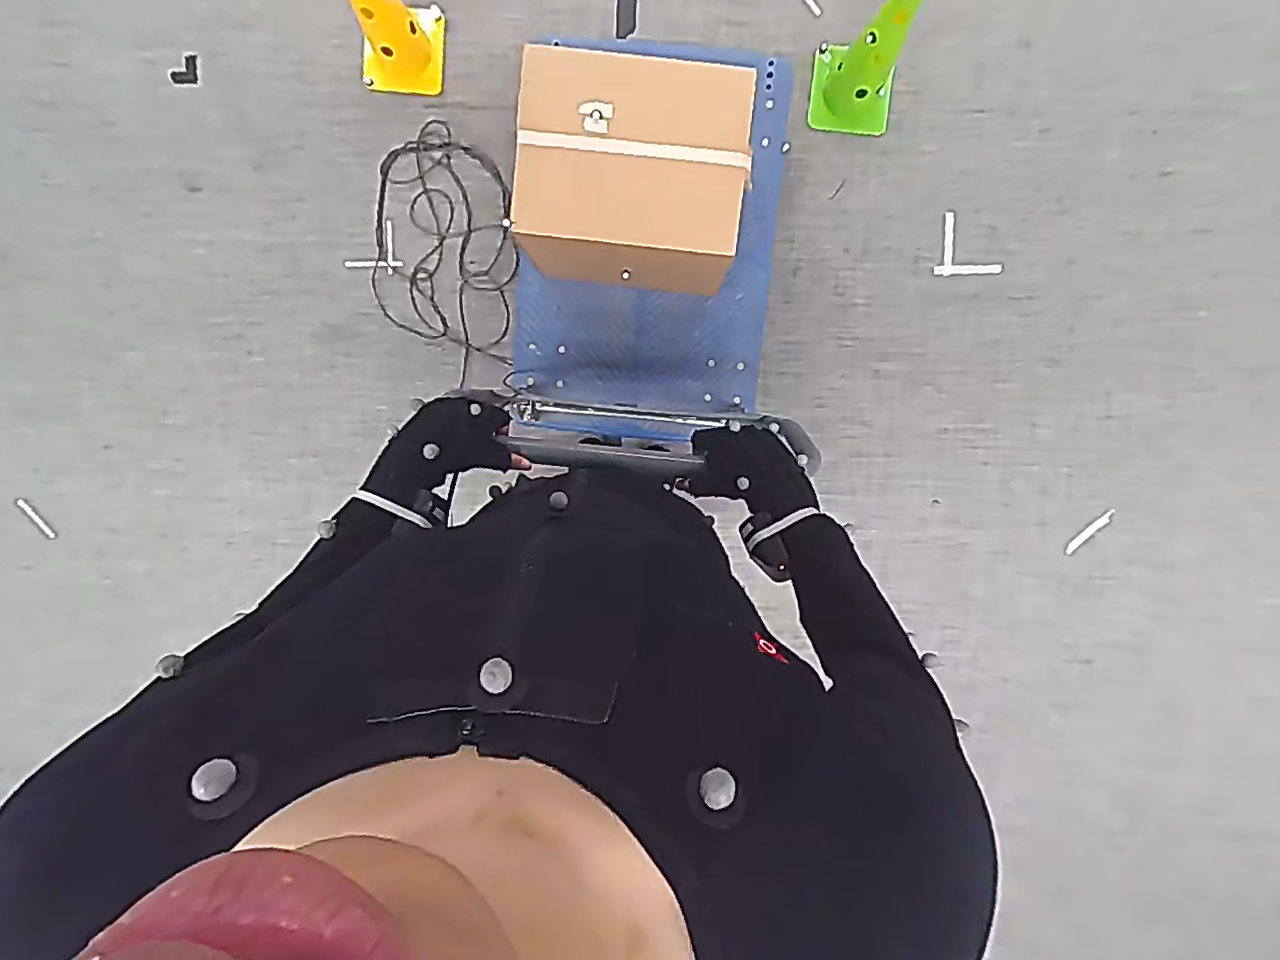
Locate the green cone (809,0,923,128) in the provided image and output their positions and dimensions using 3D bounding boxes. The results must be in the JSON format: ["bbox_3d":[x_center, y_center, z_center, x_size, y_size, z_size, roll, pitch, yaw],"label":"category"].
[{"bbox_3d":[0.532,-0.980,1.188,0.202,0.368,0.200,5,96,-1],"label":"green cone"}]

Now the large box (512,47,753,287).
[{"bbox_3d":[-0.011,-0.594,1.090,0.408,0.320,0.320,6,96,1],"label":"large box"}]
